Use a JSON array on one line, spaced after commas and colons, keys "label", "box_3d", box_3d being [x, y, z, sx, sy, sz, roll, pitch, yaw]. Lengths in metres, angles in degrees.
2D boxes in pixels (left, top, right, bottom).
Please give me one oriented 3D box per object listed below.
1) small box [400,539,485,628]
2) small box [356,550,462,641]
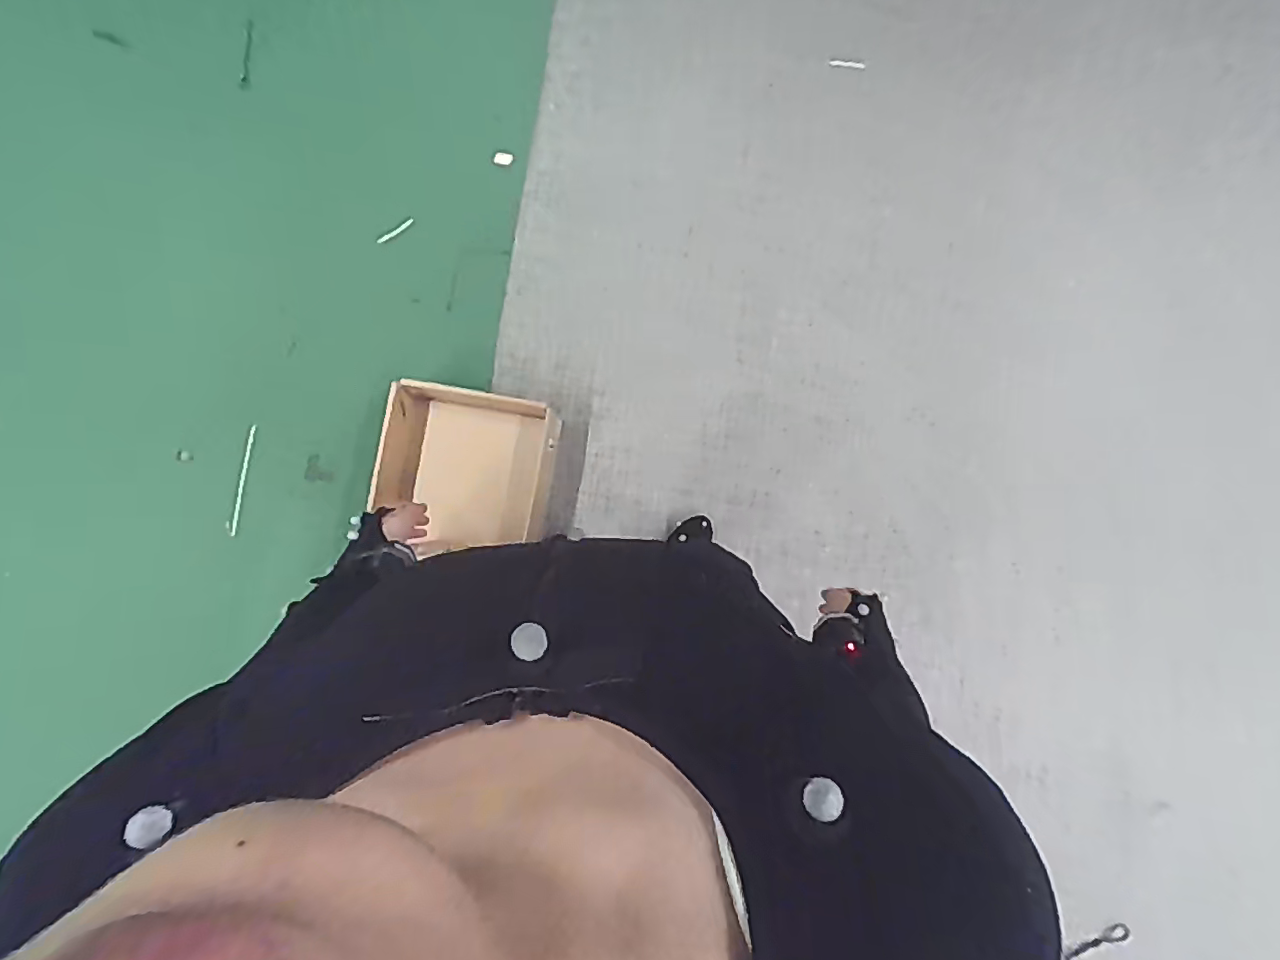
[{"label": "small box", "box_3d": [-0.498, 0.252, 1.346, 0.168, 0.176, 0.179, 10, 87, -1]}, {"label": "small box", "box_3d": [-0.495, 0.246, 1.182, 0.168, 0.176, 0.179, 1, 85, -2]}]
